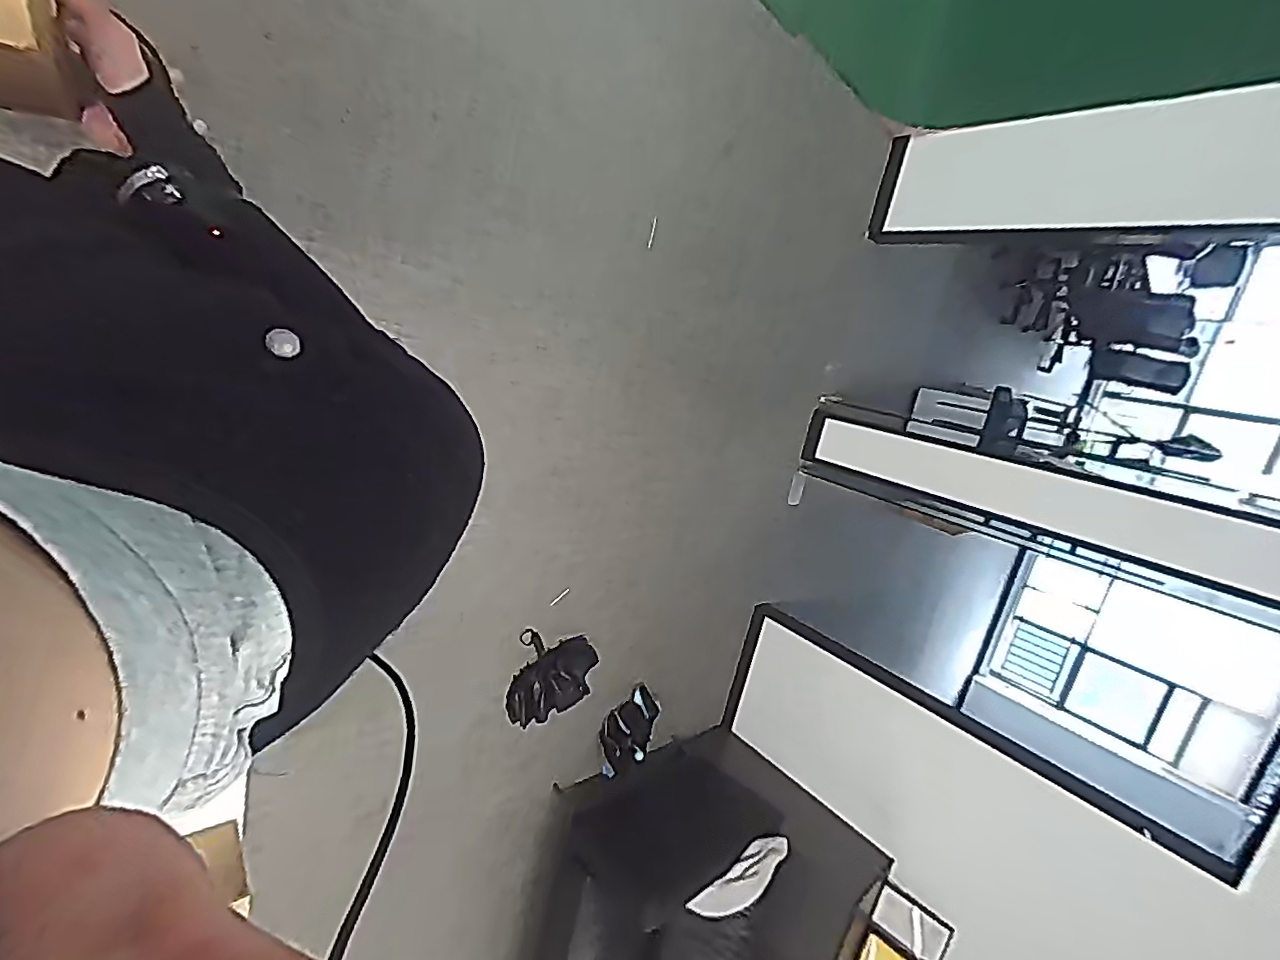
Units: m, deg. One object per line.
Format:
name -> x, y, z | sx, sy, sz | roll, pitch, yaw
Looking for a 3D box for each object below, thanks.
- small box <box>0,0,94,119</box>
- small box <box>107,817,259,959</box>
small box -> -0.466, -0.337, 0.312 | 0.179, 0.176, 0.168 | -11, 111, -37
small box -> -0.744, 0.705, 0.882 | 0.179, 0.176, 0.168 | 0, 109, -43
